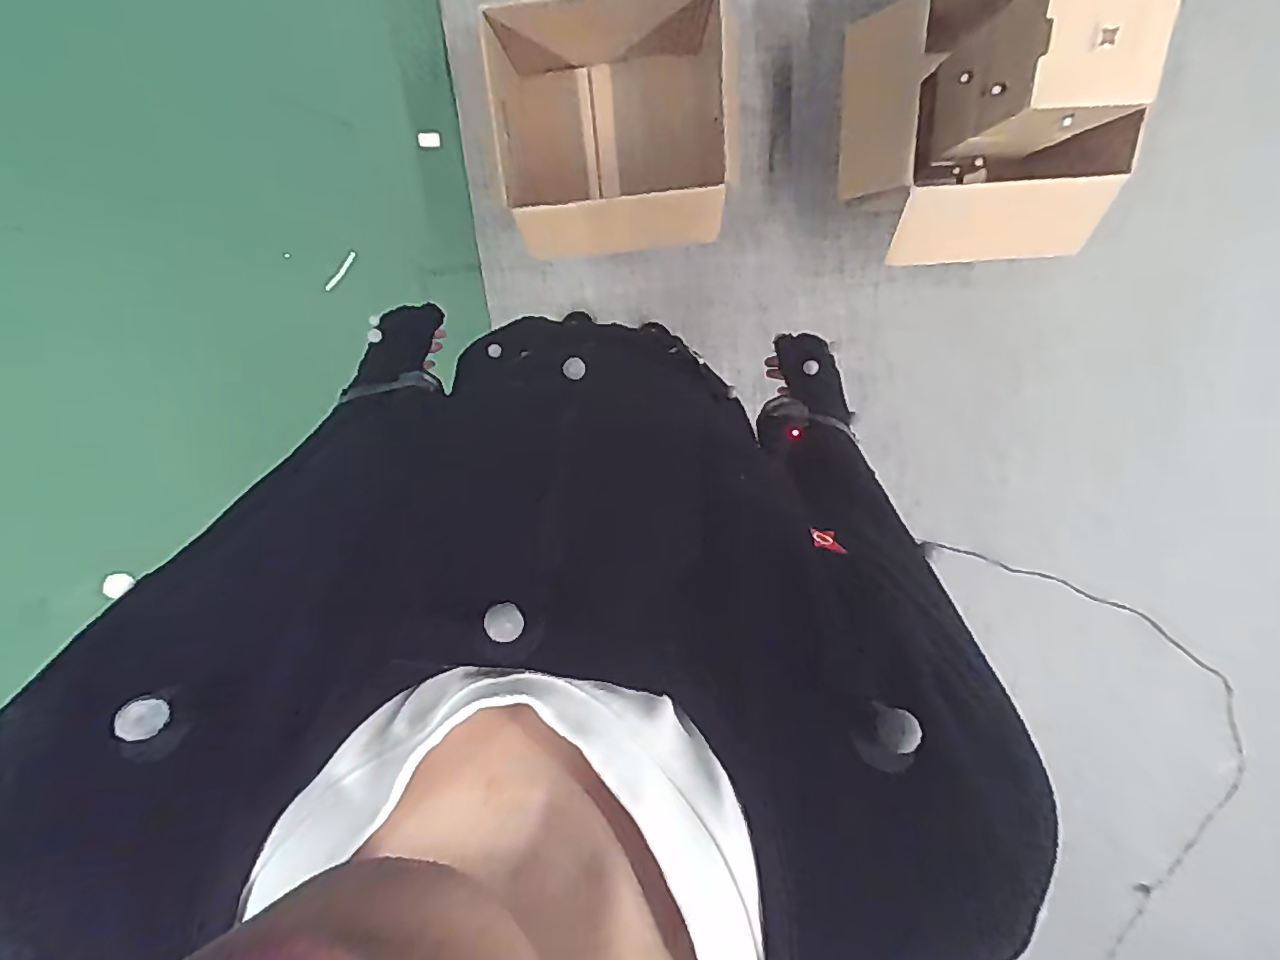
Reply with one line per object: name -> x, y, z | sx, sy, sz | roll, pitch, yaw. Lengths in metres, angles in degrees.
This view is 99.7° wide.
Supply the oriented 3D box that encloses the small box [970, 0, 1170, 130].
small box -> 0.641, -0.653, 0.824 | 0.179, 0.176, 0.168 | -2, 110, 2
